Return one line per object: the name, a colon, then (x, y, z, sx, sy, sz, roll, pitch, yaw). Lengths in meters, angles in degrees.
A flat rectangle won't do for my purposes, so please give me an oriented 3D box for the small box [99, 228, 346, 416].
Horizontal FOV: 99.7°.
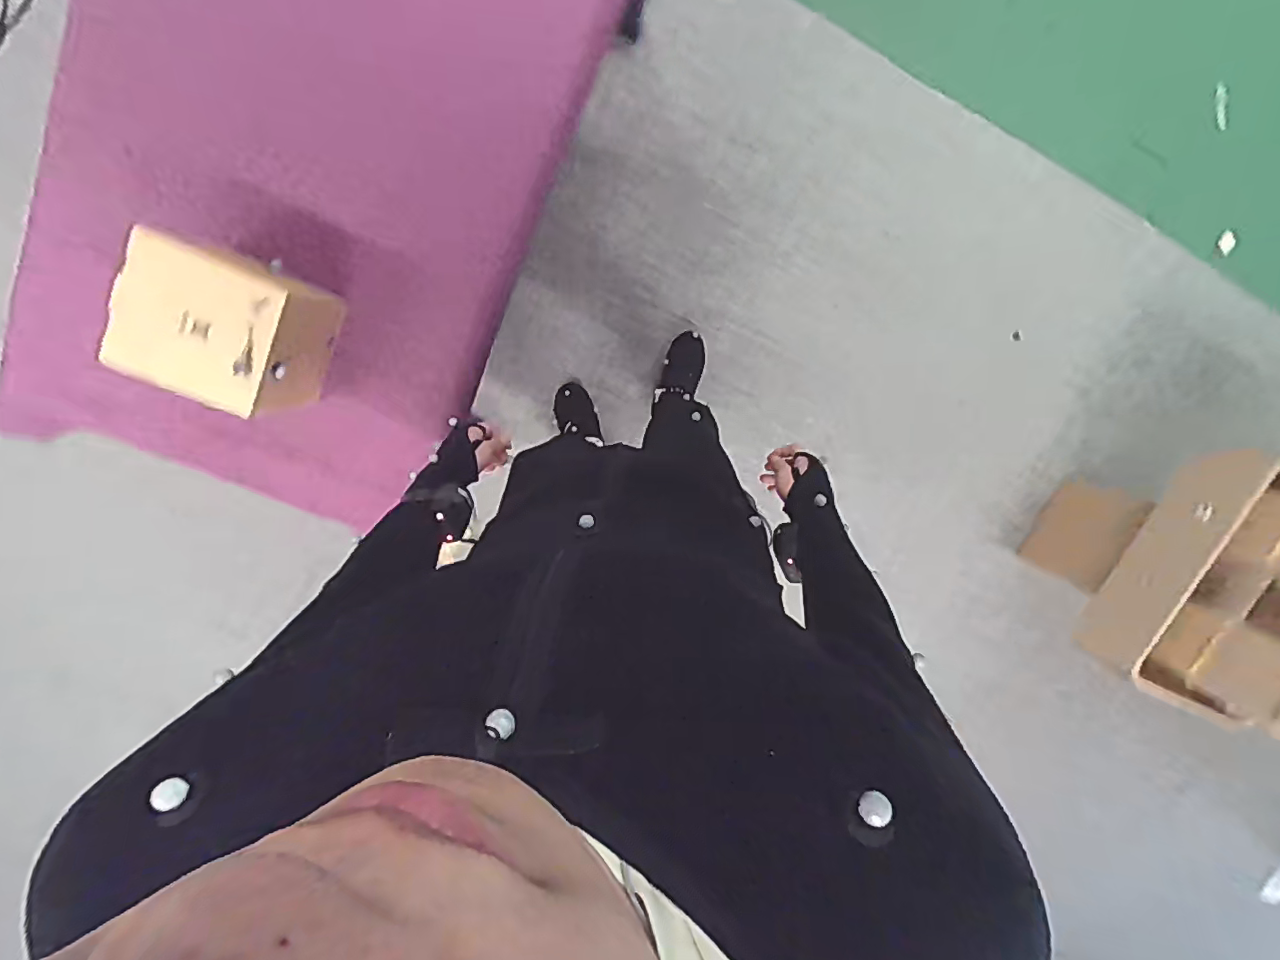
small box: (-0.534, -0.198, 0.716, 0.179, 0.176, 0.168, 23, 100, -9)
